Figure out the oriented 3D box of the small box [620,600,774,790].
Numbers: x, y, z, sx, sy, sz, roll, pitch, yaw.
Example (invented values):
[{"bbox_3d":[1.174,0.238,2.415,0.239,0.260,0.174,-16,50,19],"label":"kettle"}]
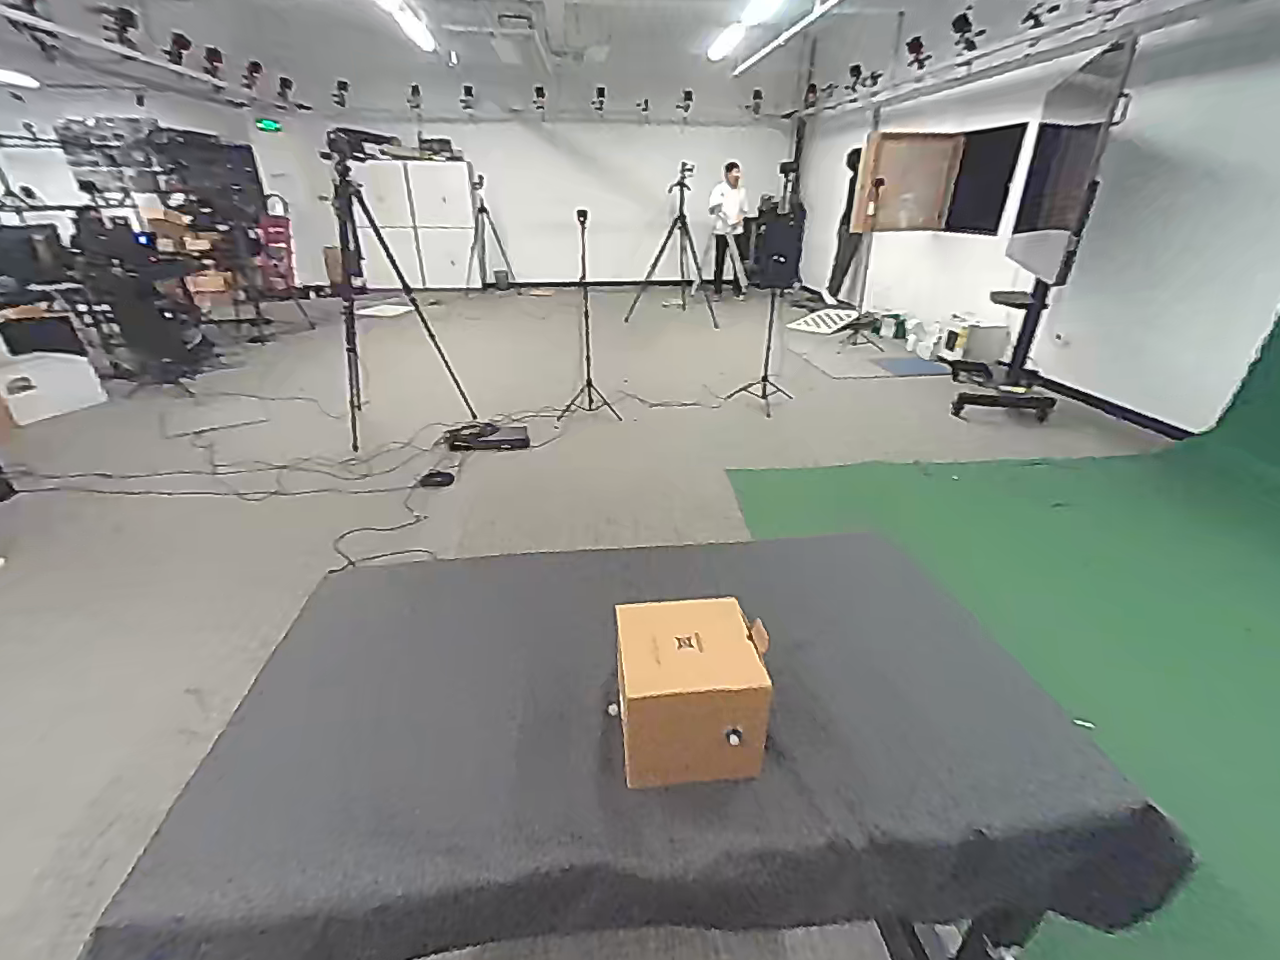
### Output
[{"bbox_3d":[0.065,0.286,0.731,0.179,0.176,0.168,-4,26,-5],"label":"small box"}]
